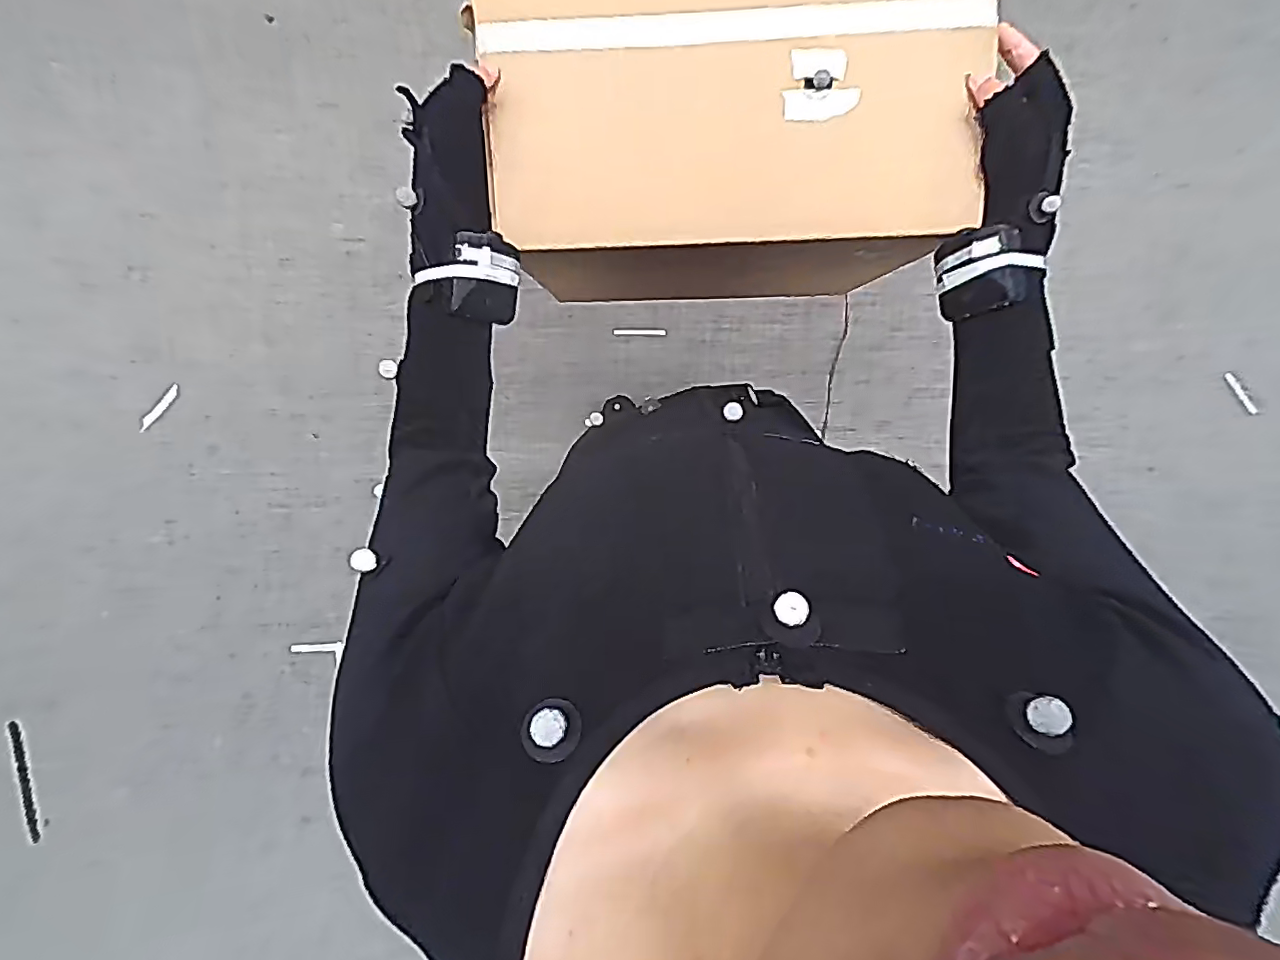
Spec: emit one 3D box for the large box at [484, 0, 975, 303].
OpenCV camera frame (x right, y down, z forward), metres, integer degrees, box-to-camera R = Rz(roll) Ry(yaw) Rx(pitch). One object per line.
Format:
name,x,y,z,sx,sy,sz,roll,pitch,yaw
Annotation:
large box,0.073,-0.384,0.589,0.408,0.320,0.320,-2,101,1
